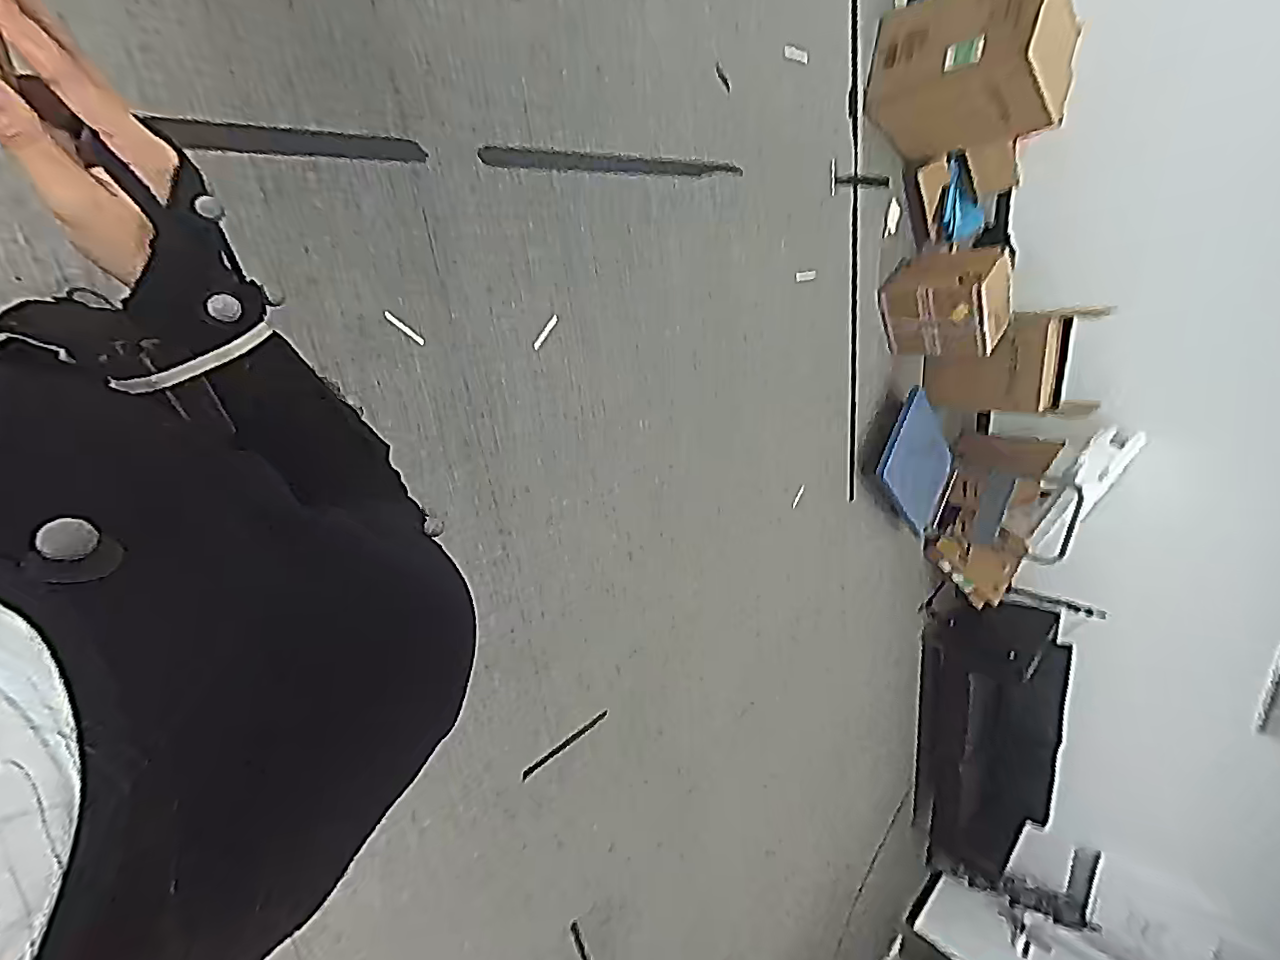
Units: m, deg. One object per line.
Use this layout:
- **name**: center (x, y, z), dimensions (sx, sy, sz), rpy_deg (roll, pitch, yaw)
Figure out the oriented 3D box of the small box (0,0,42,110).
- **small box**: center (-0.347, -0.258, 0.170), dimensions (0.179, 0.176, 0.168), rpy_deg (-17, 150, -37)
